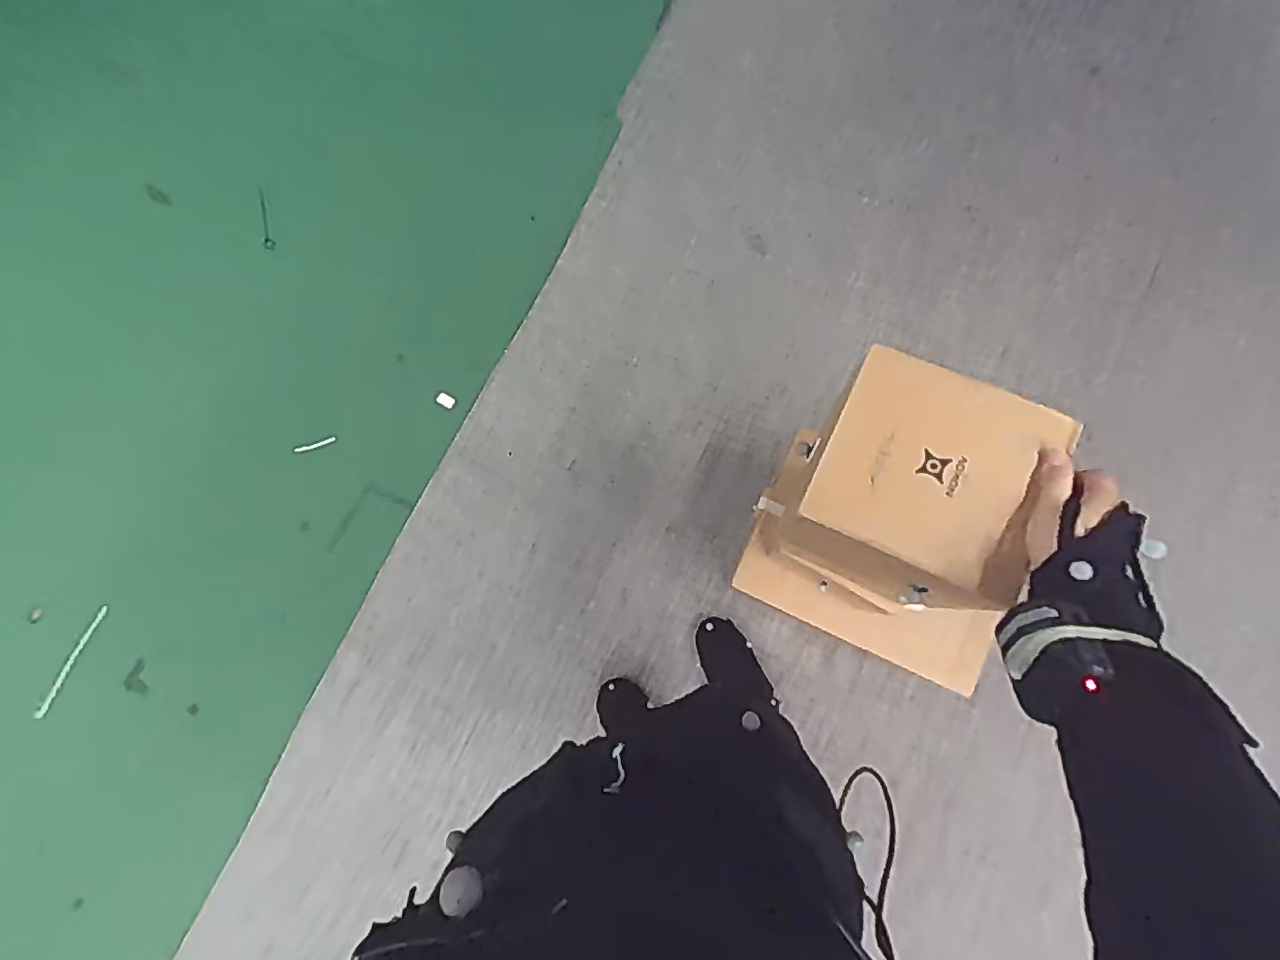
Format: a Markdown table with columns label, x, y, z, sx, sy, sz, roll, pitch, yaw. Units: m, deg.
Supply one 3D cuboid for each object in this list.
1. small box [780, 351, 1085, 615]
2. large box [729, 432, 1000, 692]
| label | x | y | z | sx | sy | sz | roll | pitch | yaw |
| --- | --- | --- | --- | --- | --- | --- | --- | --- | --- |
| small box | 0.251 | 0.012 | 0.510 | 0.179 | 0.176 | 0.168 | 24 | 81 | 12 |
| large box | 0.418 | 0.151 | 1.044 | 0.408 | 0.320 | 0.320 | 24 | 84 | 11 |
